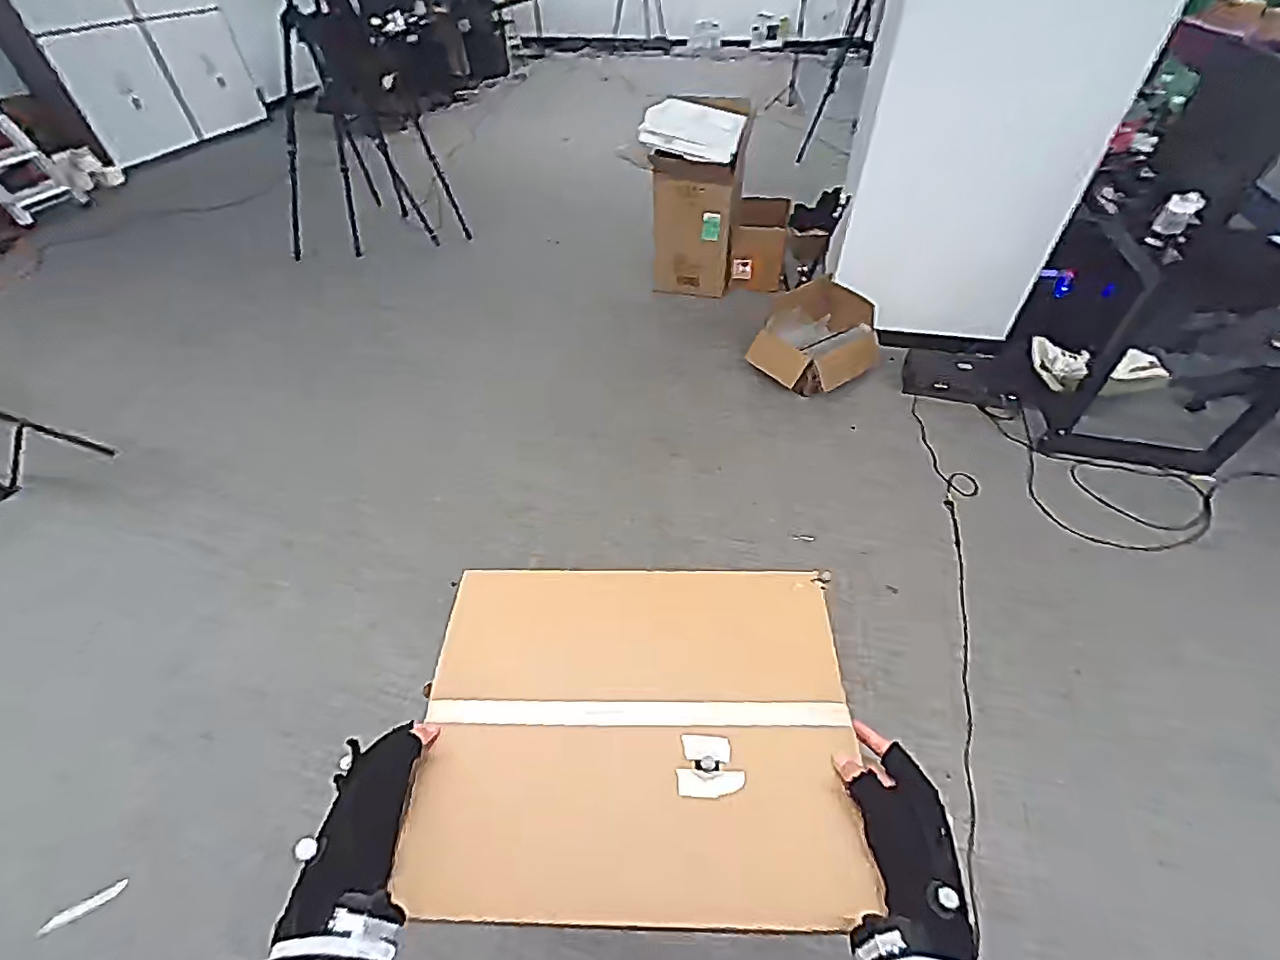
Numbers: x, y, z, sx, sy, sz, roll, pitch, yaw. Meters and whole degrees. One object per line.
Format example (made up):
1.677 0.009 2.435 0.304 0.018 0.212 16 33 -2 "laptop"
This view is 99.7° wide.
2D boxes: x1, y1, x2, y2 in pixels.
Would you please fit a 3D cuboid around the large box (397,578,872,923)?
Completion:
-0.005 0.330 0.653 0.408 0.320 0.320 0 51 1 "large box"
